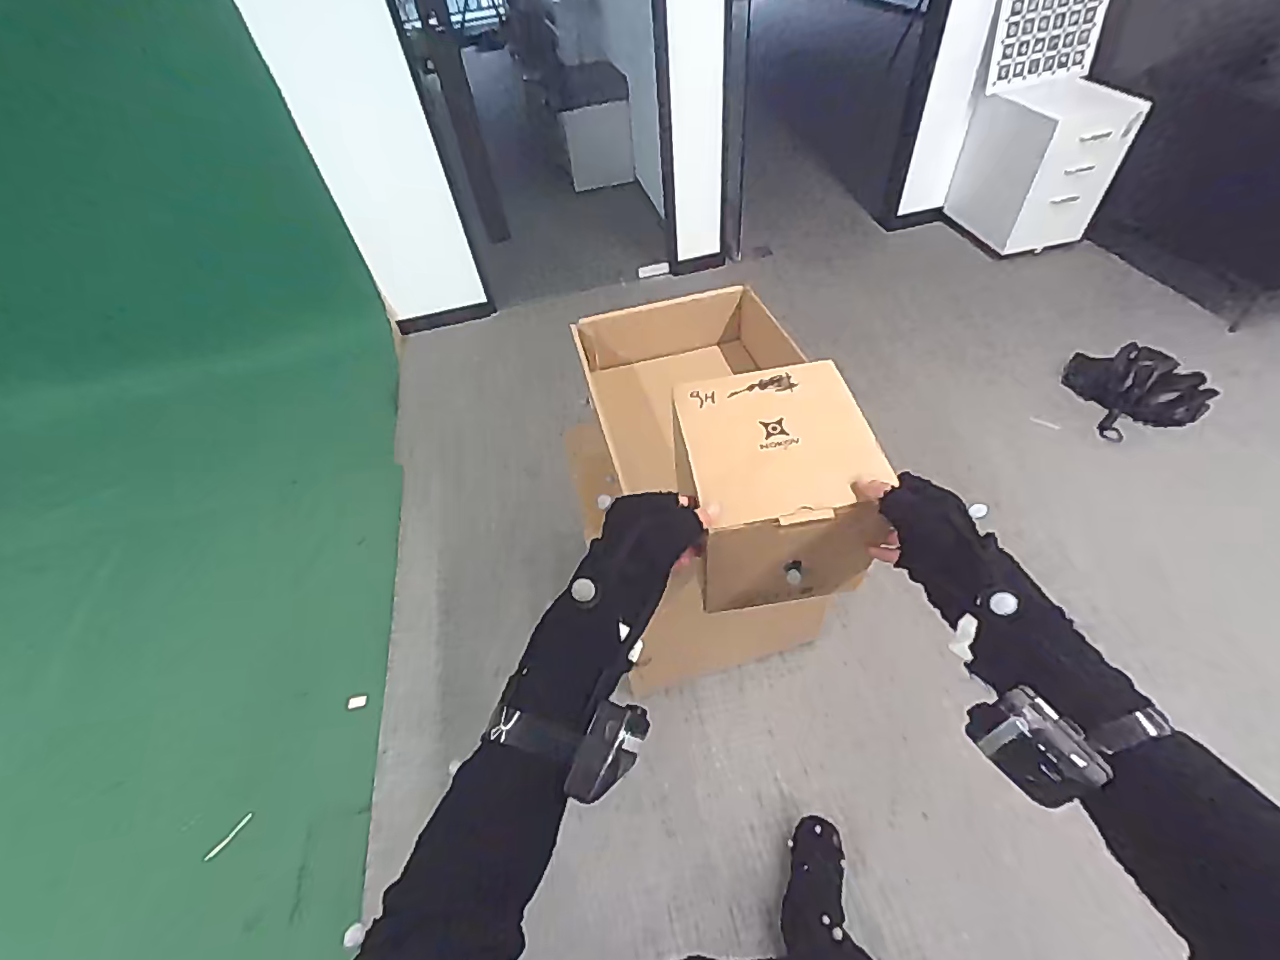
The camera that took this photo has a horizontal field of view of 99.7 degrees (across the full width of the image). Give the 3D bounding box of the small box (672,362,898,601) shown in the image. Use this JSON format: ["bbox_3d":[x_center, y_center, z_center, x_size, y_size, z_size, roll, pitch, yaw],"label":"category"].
[{"bbox_3d":[0.131,0.010,0.553,0.168,0.176,0.179,-9,53,0],"label":"small box"}]
